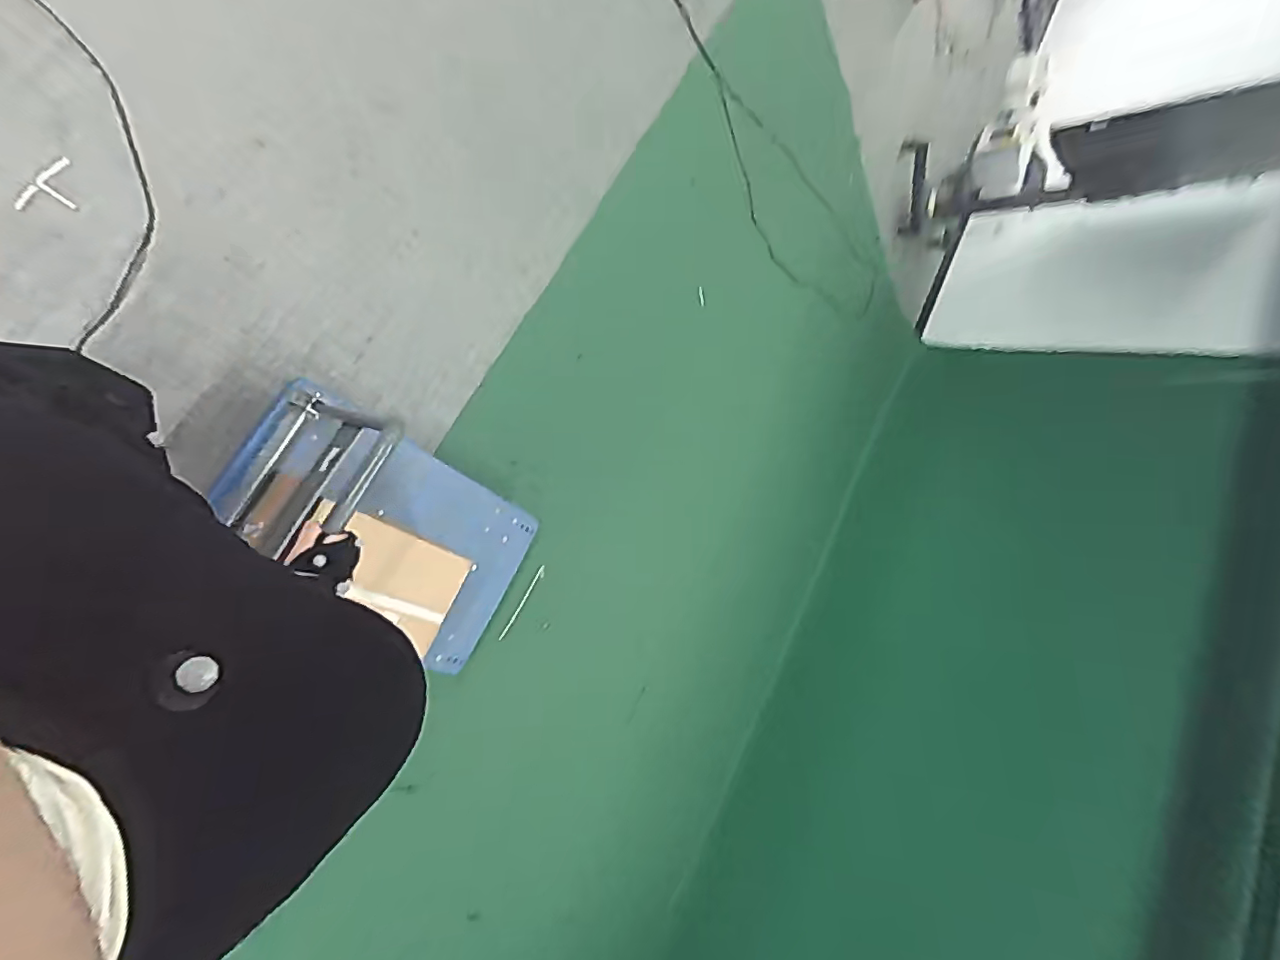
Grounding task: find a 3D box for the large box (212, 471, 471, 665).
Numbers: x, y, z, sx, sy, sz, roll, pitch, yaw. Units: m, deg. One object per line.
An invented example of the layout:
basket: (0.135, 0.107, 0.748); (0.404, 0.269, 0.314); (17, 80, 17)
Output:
large box: (-0.716, 0.214, 1.320); (0.408, 0.320, 0.320); (39, 72, -46)
